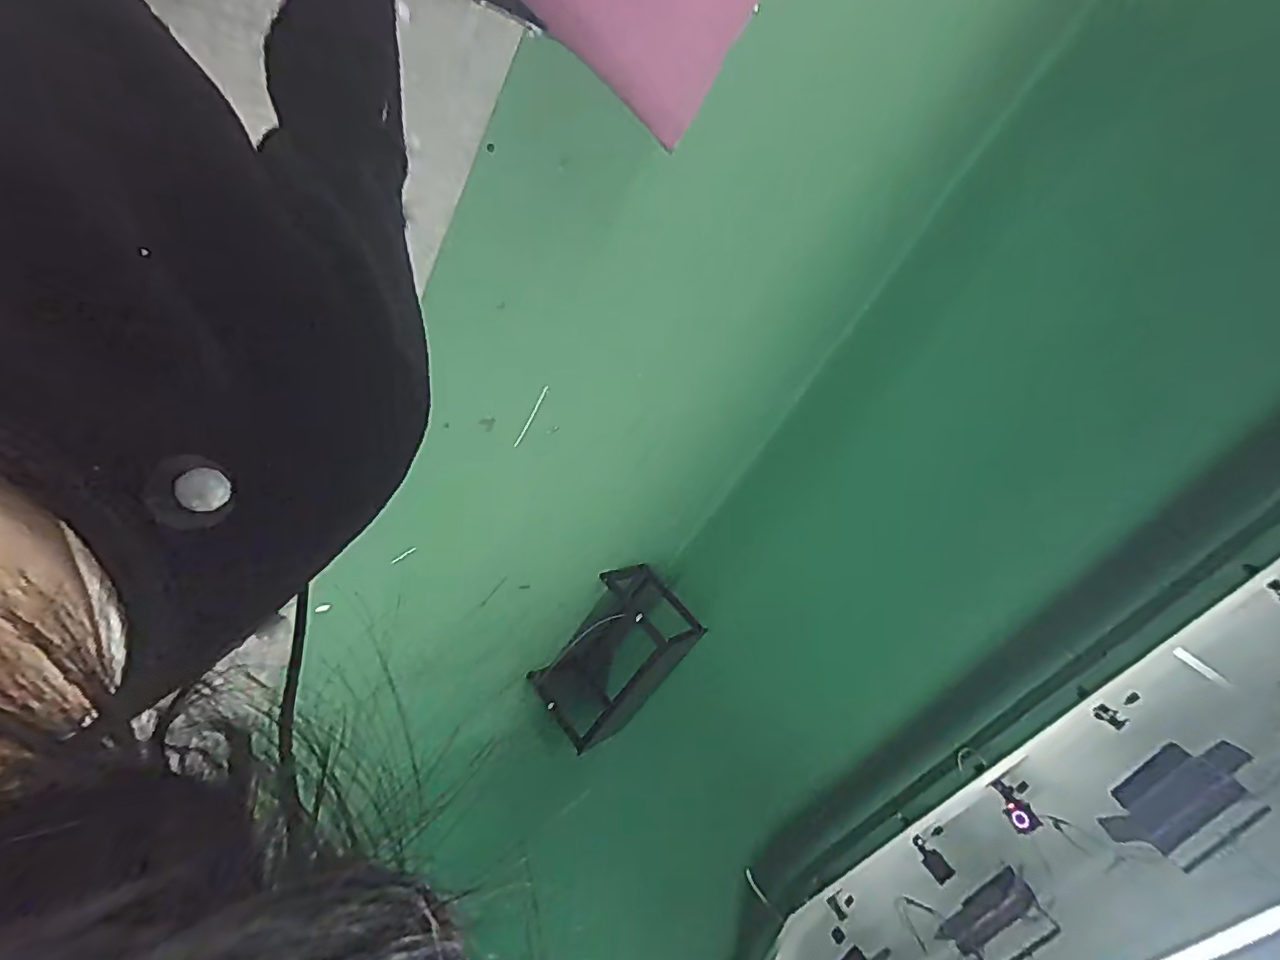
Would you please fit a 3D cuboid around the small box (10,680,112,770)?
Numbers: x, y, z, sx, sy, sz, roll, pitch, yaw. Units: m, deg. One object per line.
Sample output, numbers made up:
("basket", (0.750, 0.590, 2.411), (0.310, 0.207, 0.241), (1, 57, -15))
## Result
("small box", (-1.826, 0.762, 1.703), (0.168, 0.176, 0.179), (-51, 155, 13))
